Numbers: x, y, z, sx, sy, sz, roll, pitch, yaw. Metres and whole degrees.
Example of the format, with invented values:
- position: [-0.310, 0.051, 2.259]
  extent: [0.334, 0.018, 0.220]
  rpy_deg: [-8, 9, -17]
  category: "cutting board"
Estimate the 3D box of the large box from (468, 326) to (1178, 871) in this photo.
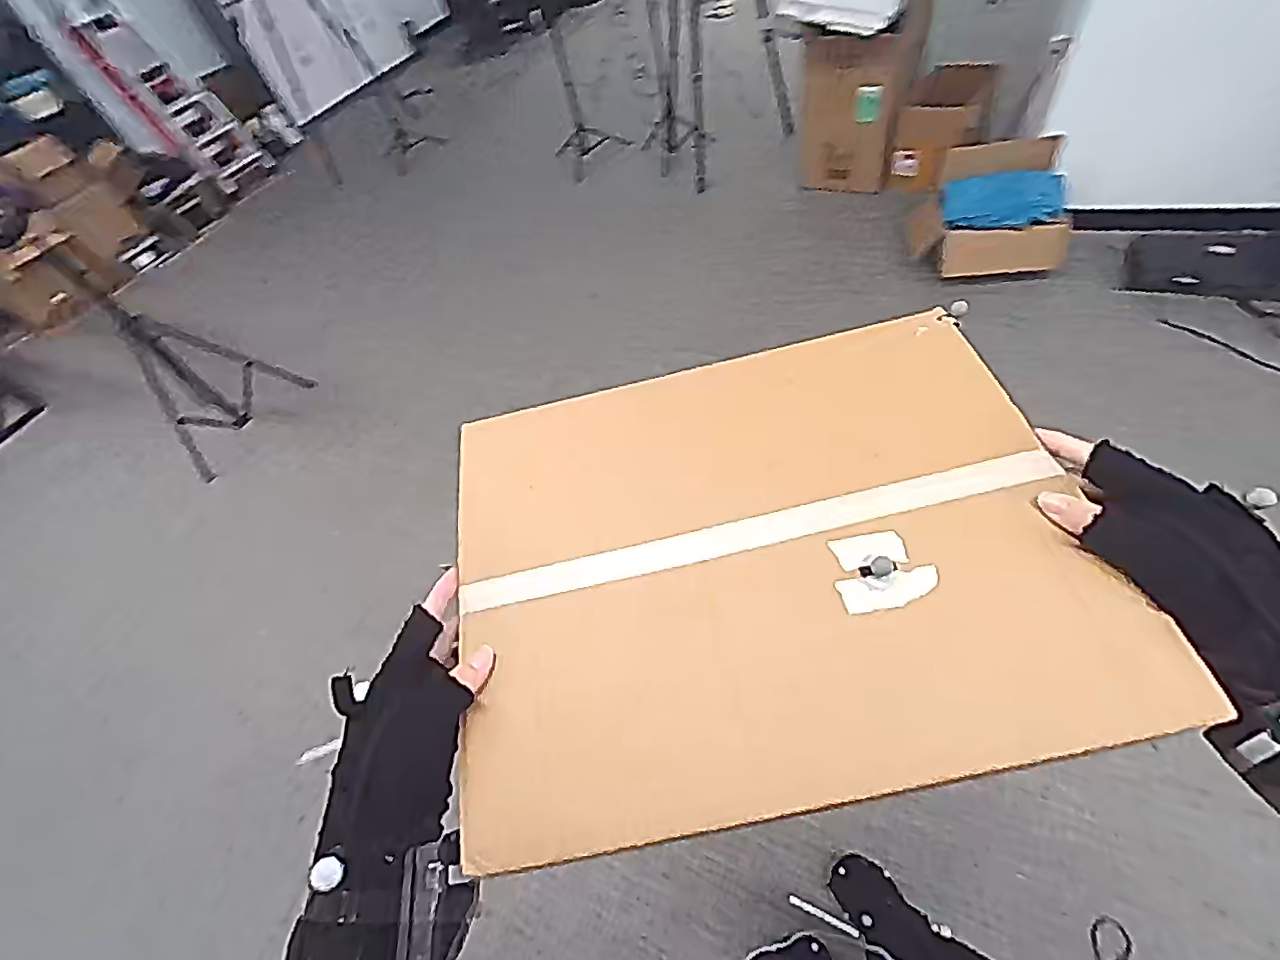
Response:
- position: [0.095, 0.120, 0.501]
  extent: [0.408, 0.320, 0.320]
  rpy_deg: [-14, 58, 1]
  category: "large box"
